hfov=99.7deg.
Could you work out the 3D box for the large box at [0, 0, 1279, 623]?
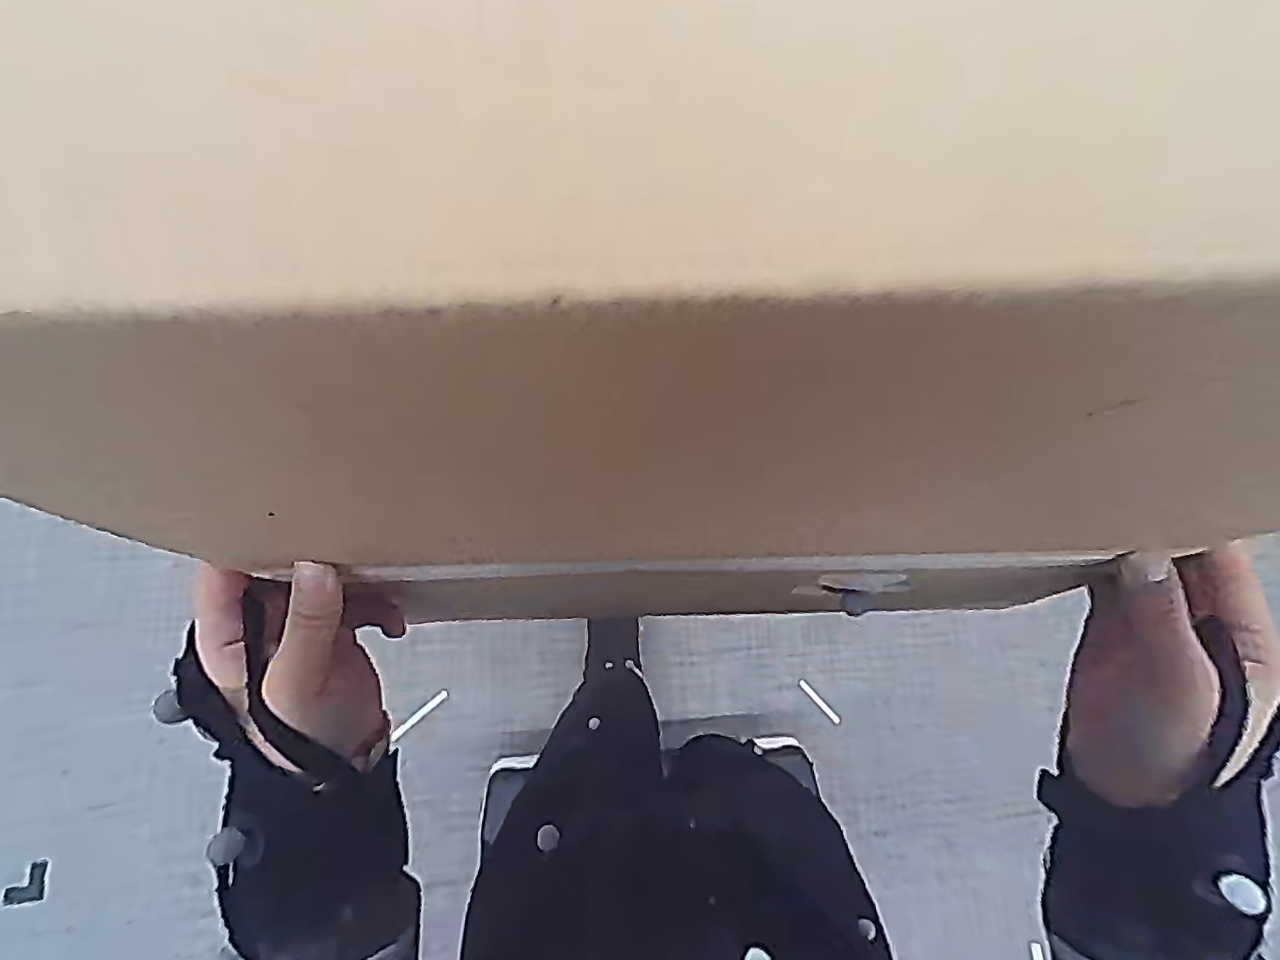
[{"bbox_3d":[0.026,-0.108,0.295,0.408,0.320,0.320,-2,68,0],"label":"large box"}]
